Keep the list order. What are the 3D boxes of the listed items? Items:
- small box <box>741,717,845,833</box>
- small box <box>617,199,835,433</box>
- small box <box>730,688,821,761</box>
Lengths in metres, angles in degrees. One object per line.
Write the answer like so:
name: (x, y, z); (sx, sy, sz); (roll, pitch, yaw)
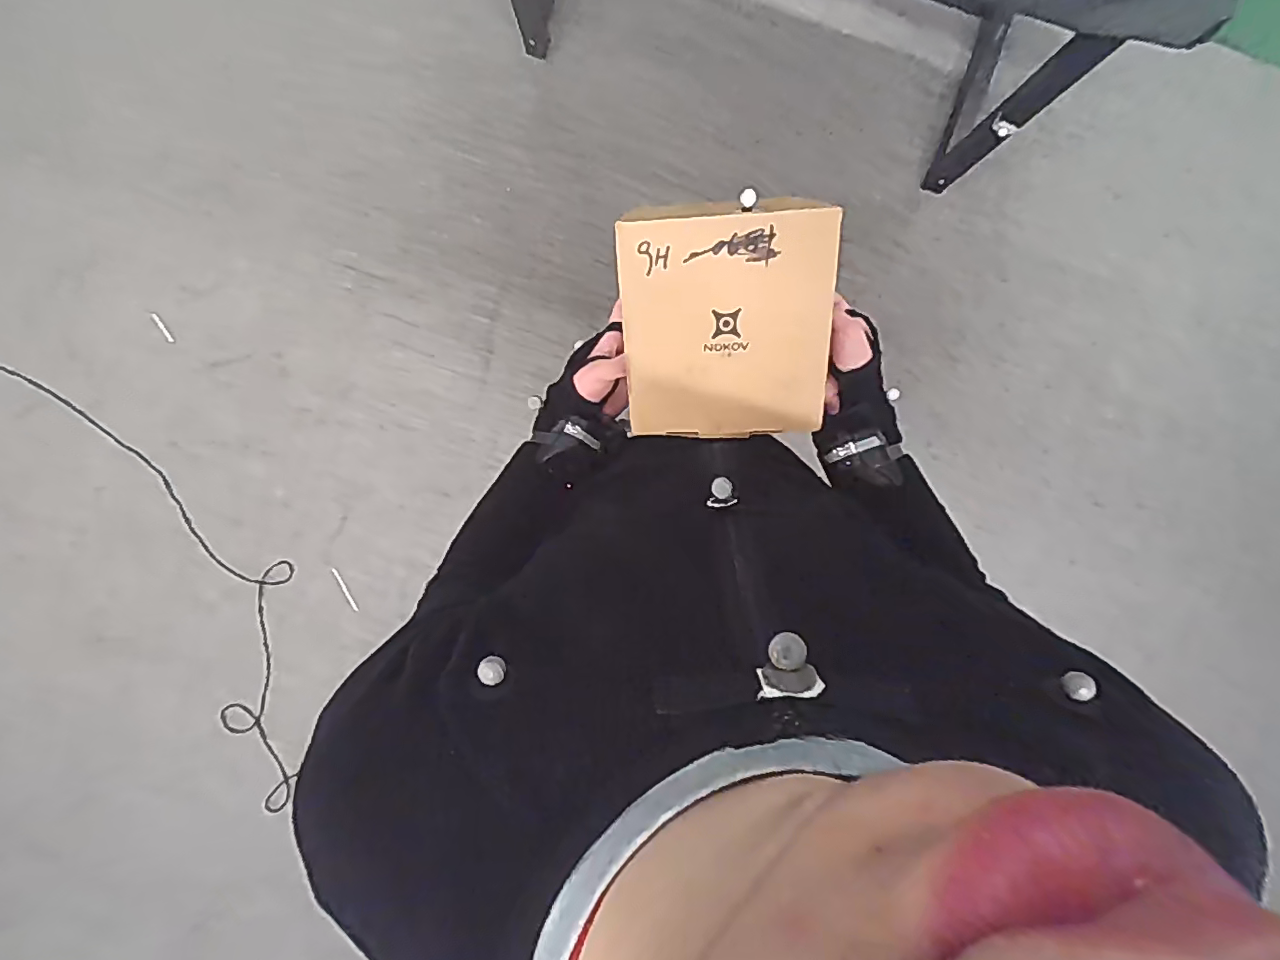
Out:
small box: (0.388, 0.754, 1.402); (0.179, 0.176, 0.168); (32, 93, -3)
small box: (0.074, -0.160, 0.515); (0.168, 0.176, 0.179); (-1, 121, 6)
small box: (0.384, 0.738, 1.566); (0.179, 0.176, 0.168); (31, 93, -3)
